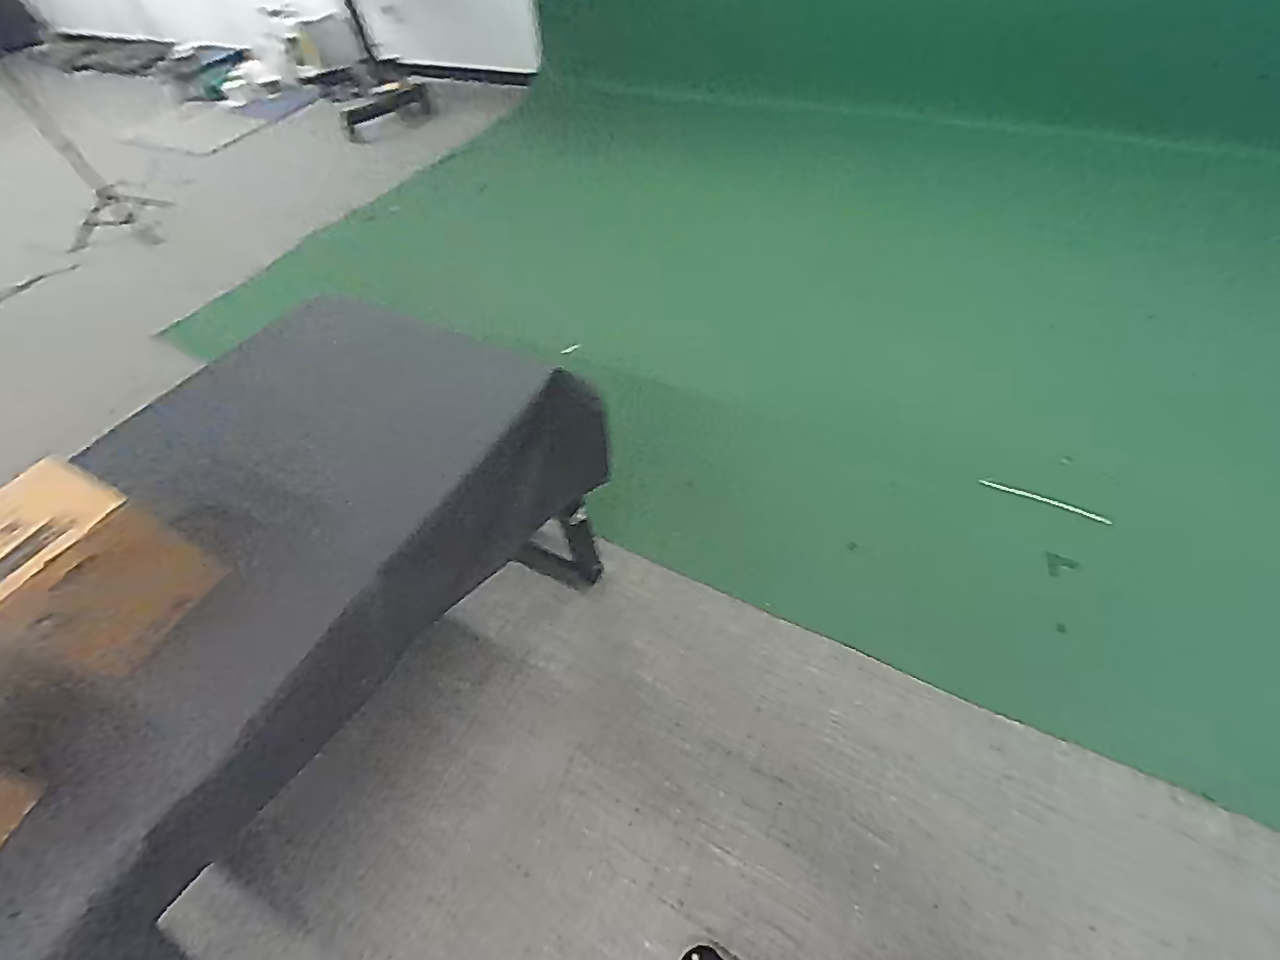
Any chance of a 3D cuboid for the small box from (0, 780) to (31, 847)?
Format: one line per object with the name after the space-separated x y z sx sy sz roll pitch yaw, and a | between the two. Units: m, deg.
-0.747 0.334 0.483 0.179 0.176 0.168 11 54 13 | small box
